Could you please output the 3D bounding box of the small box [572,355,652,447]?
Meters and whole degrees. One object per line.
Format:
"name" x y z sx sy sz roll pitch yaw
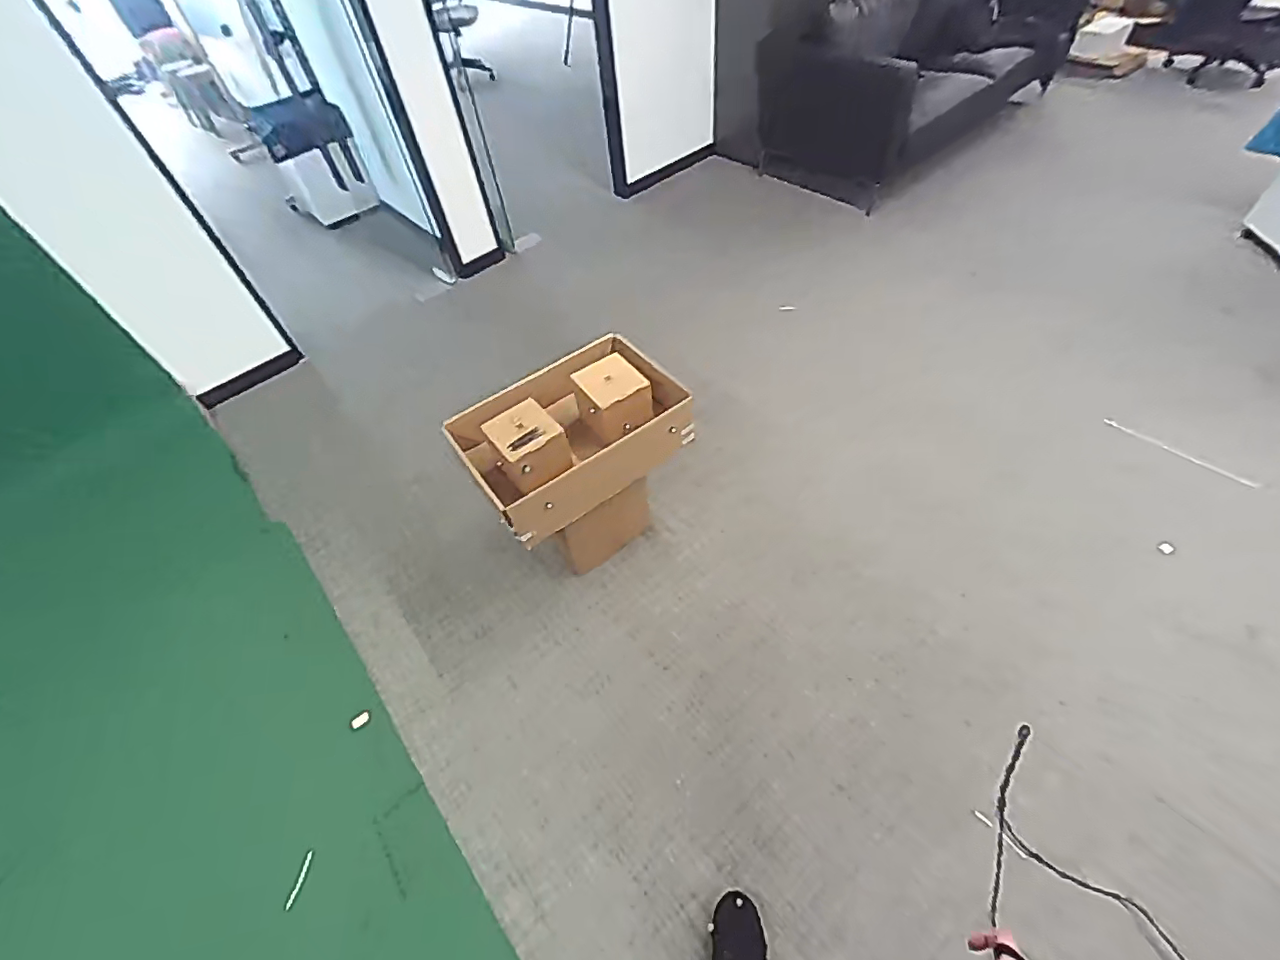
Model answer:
"small box" -0.078 -0.231 1.595 0.168 0.176 0.179 -31 56 -18
